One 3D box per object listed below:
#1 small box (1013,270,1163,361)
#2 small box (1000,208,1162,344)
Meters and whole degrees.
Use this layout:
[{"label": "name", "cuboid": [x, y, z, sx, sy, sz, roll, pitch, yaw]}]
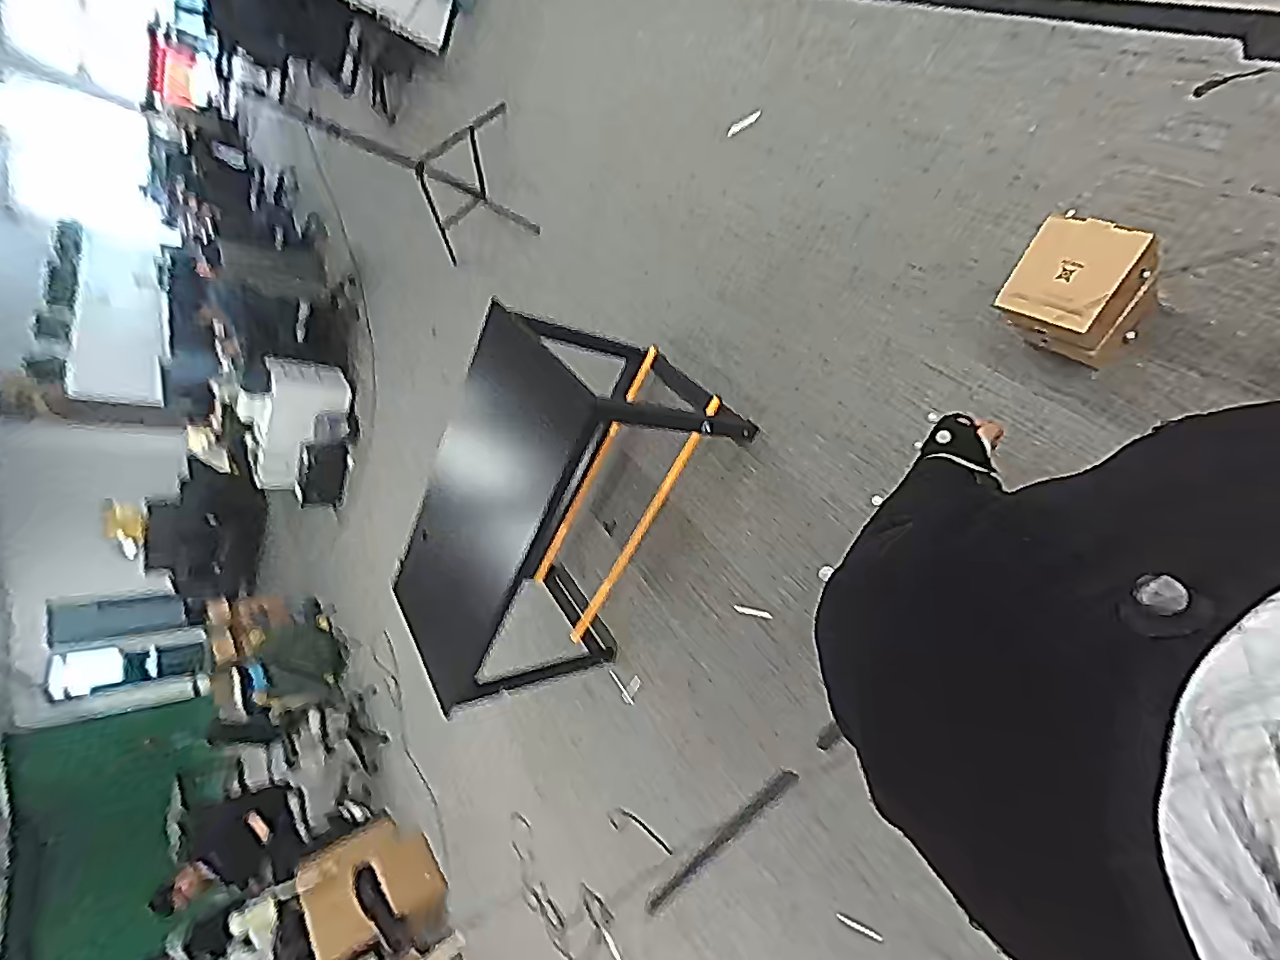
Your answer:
[{"label": "small box", "cuboid": [0.936, -0.365, 1.134, 0.179, 0.176, 0.168, 45, 119, 35]}, {"label": "small box", "cuboid": [0.826, -0.377, 1.014, 0.168, 0.176, 0.179, 42, 119, 39]}]
